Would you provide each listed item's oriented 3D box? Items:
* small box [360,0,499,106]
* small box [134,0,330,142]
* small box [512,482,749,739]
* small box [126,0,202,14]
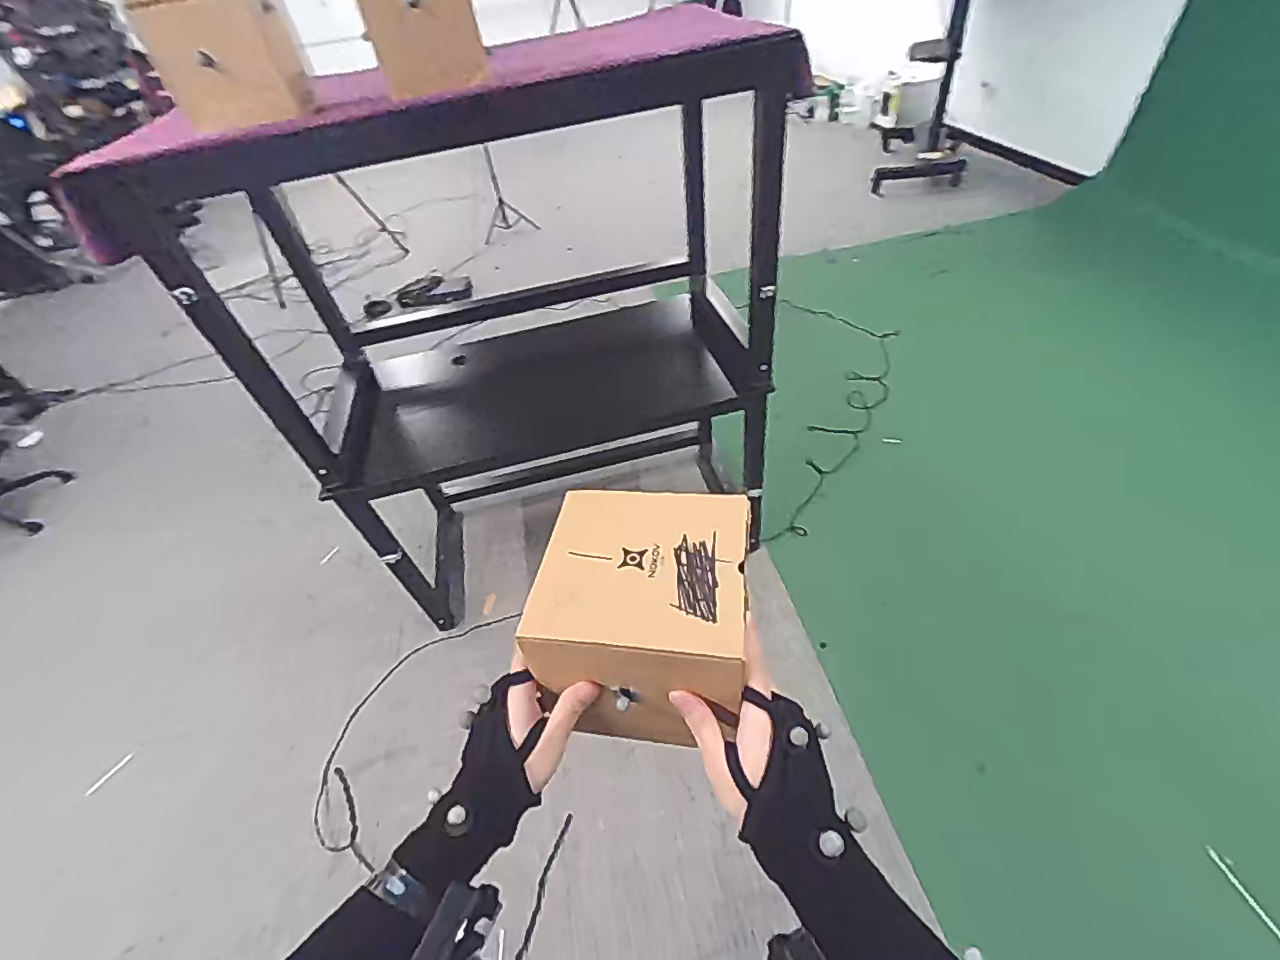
[{"bbox_3d":[-0.353,-0.761,0.921,0.179,0.176,0.168,-15,45,-4],"label":"small box"},{"bbox_3d":[-0.660,-0.686,0.901,0.179,0.176,0.168,-16,45,-5],"label":"small box"},{"bbox_3d":[0.008,0.120,0.503,0.179,0.176,0.168,1,42,11],"label":"small box"},{"bbox_3d":[-0.683,-0.802,0.789,0.179,0.176,0.168,-15,44,-6],"label":"small box"}]
